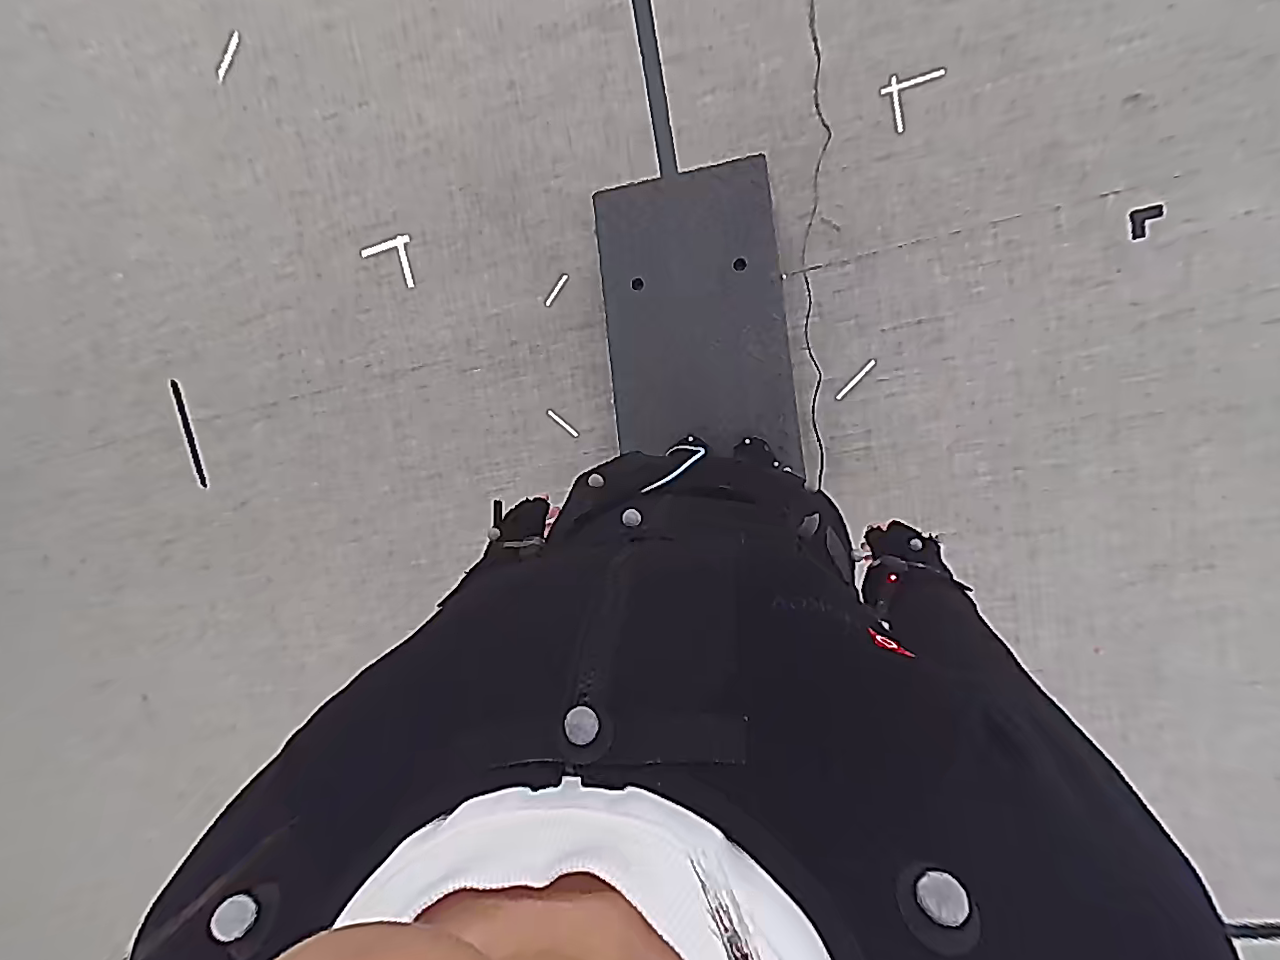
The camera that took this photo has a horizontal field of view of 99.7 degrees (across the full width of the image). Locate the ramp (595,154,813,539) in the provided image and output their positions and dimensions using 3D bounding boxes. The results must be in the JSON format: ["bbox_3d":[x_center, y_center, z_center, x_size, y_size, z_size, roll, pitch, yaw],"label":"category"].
[{"bbox_3d":[0.156,-0.358,1.477,0.509,0.206,0.991,-9,96,13],"label":"ramp"}]
